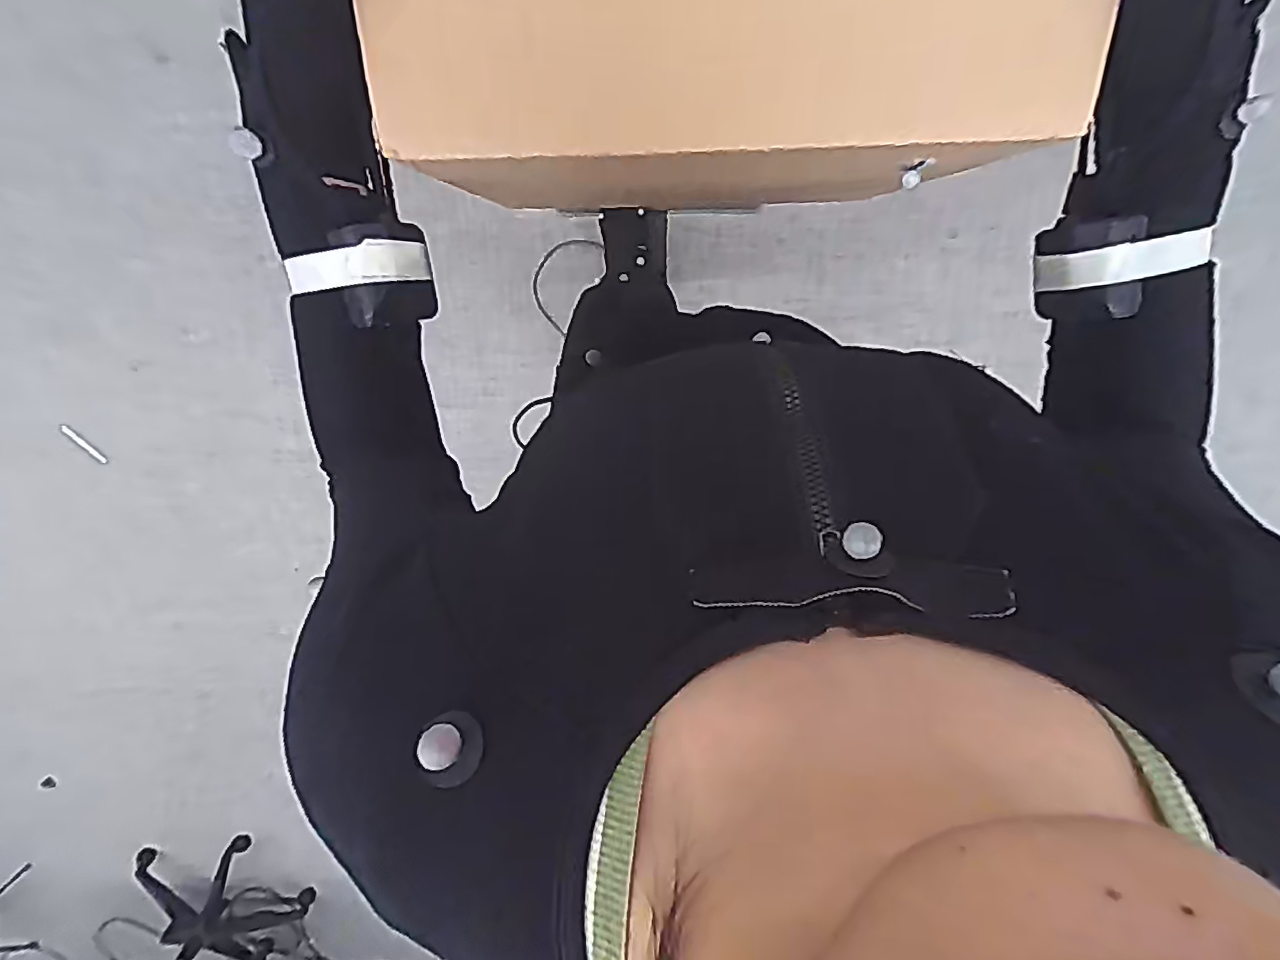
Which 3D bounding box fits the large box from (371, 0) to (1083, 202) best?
[{"bbox_3d":[0.047,-0.399,0.406,0.408,0.320,0.320,-2,111,1],"label":"large box"}]
